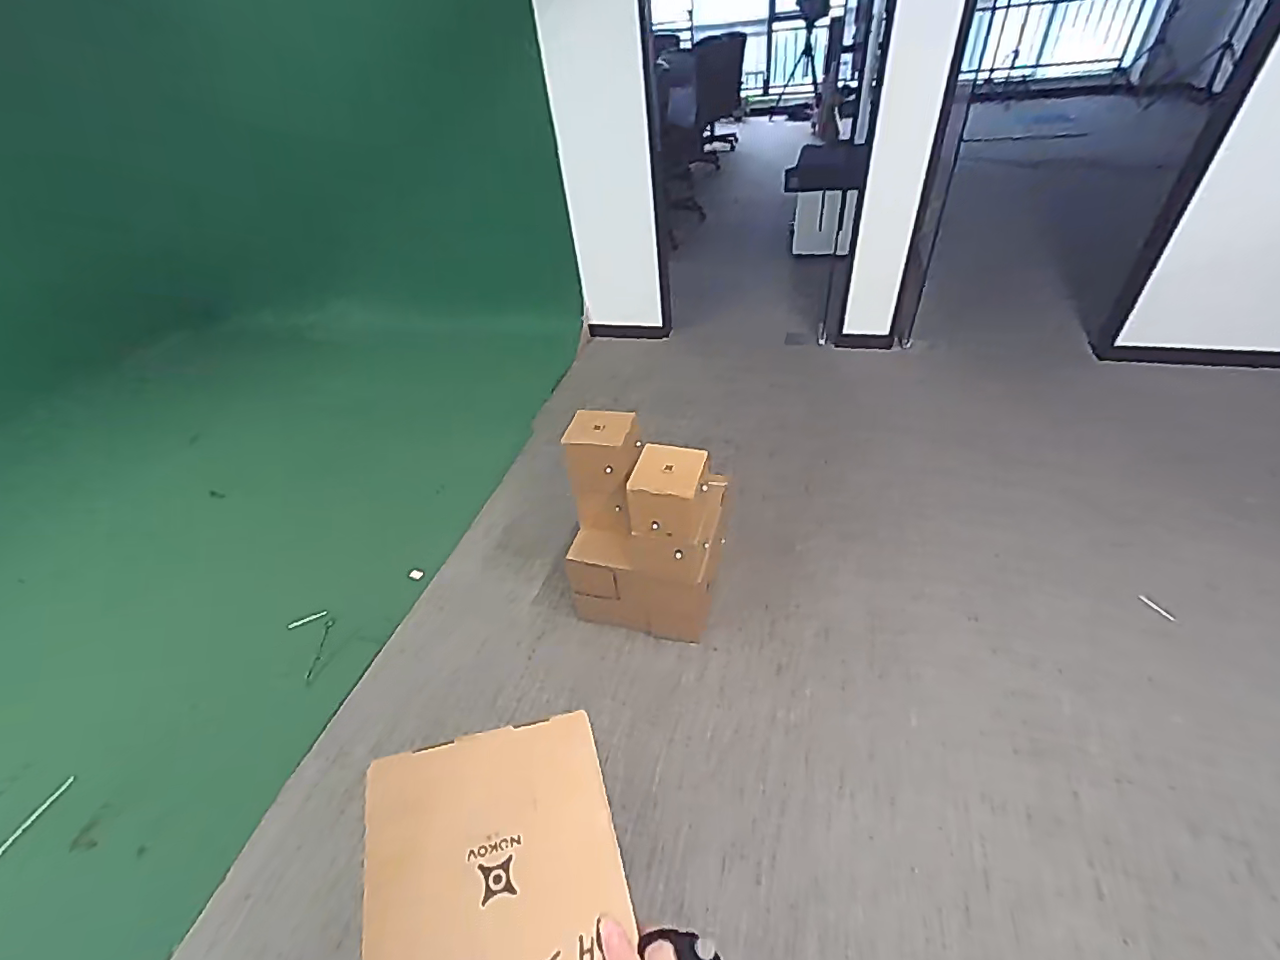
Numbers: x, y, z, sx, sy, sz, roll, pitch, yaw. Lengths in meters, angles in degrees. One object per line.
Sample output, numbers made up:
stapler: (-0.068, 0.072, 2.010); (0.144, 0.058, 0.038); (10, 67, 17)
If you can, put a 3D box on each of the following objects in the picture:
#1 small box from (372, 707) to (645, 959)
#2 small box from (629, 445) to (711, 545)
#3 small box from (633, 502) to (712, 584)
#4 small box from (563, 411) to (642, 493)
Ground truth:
small box: (-0.107, 0.312, 0.430); (0.168, 0.176, 0.179); (-6, 49, -17)
small box: (0.080, 0.037, 1.373); (0.168, 0.176, 0.179); (9, 44, 16)
small box: (0.094, 0.162, 1.478); (0.179, 0.176, 0.168); (8, 43, 16)
small box: (-0.098, -0.079, 1.535); (0.179, 0.176, 0.168); (5, 40, 15)
